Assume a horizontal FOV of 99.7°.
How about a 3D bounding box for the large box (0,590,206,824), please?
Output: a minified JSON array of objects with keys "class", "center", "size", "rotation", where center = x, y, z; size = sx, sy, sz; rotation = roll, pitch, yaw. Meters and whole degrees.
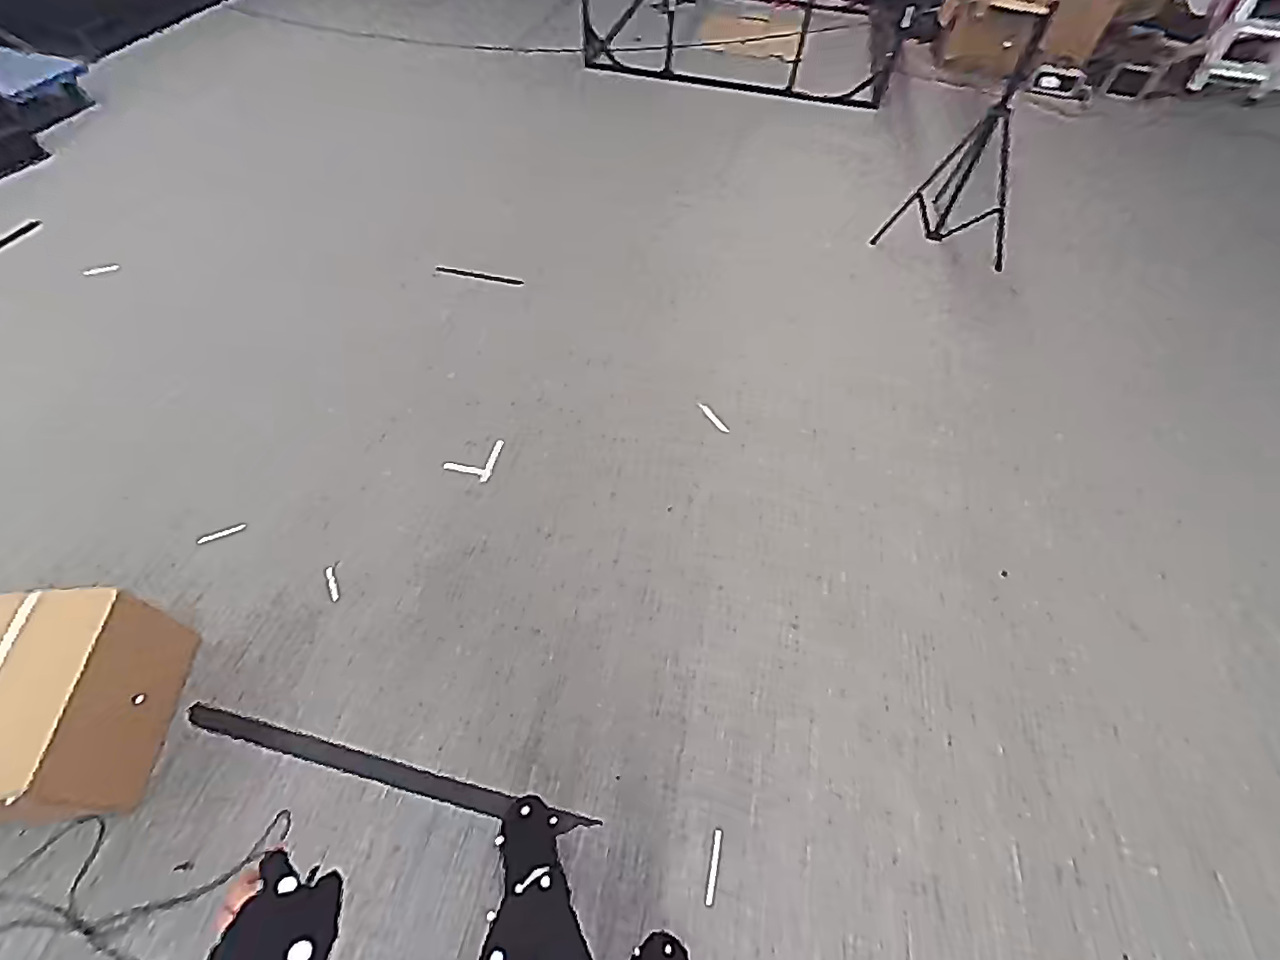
[{"class":"large box","center":[-1.262,0.499,1.192],"size":[0.320,0.320,0.408],"rotation":[-4,56,-7]}]
